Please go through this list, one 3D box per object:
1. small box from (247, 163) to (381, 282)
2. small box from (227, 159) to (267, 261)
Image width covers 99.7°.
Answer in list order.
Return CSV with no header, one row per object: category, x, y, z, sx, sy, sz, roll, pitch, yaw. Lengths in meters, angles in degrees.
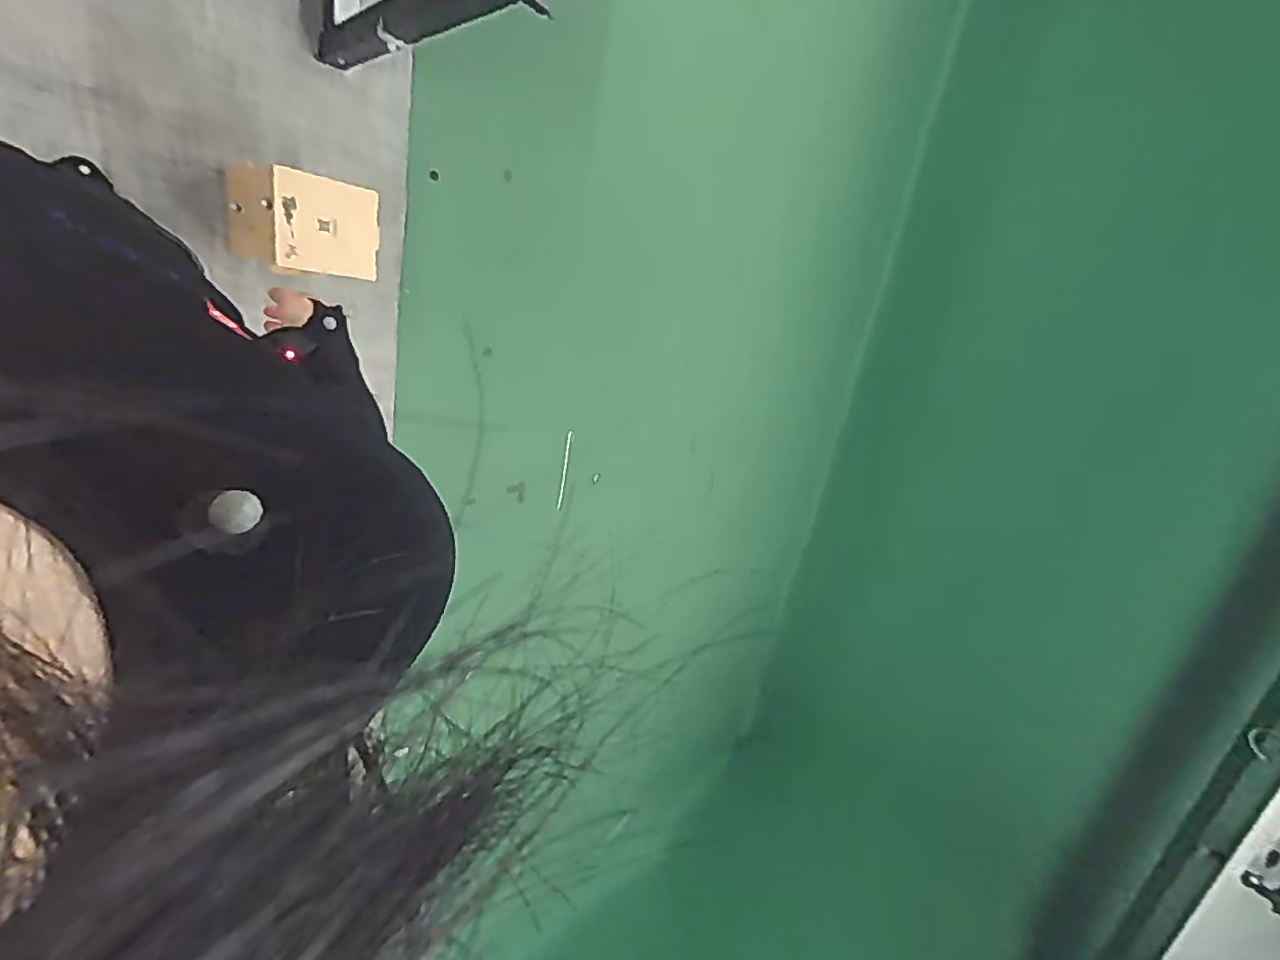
small box,-0.625,-0.492,1.036,0.179,0.176,0.168,-7,116,-47
small box,-0.745,-0.549,1.134,0.168,0.176,0.179,-10,116,-46
